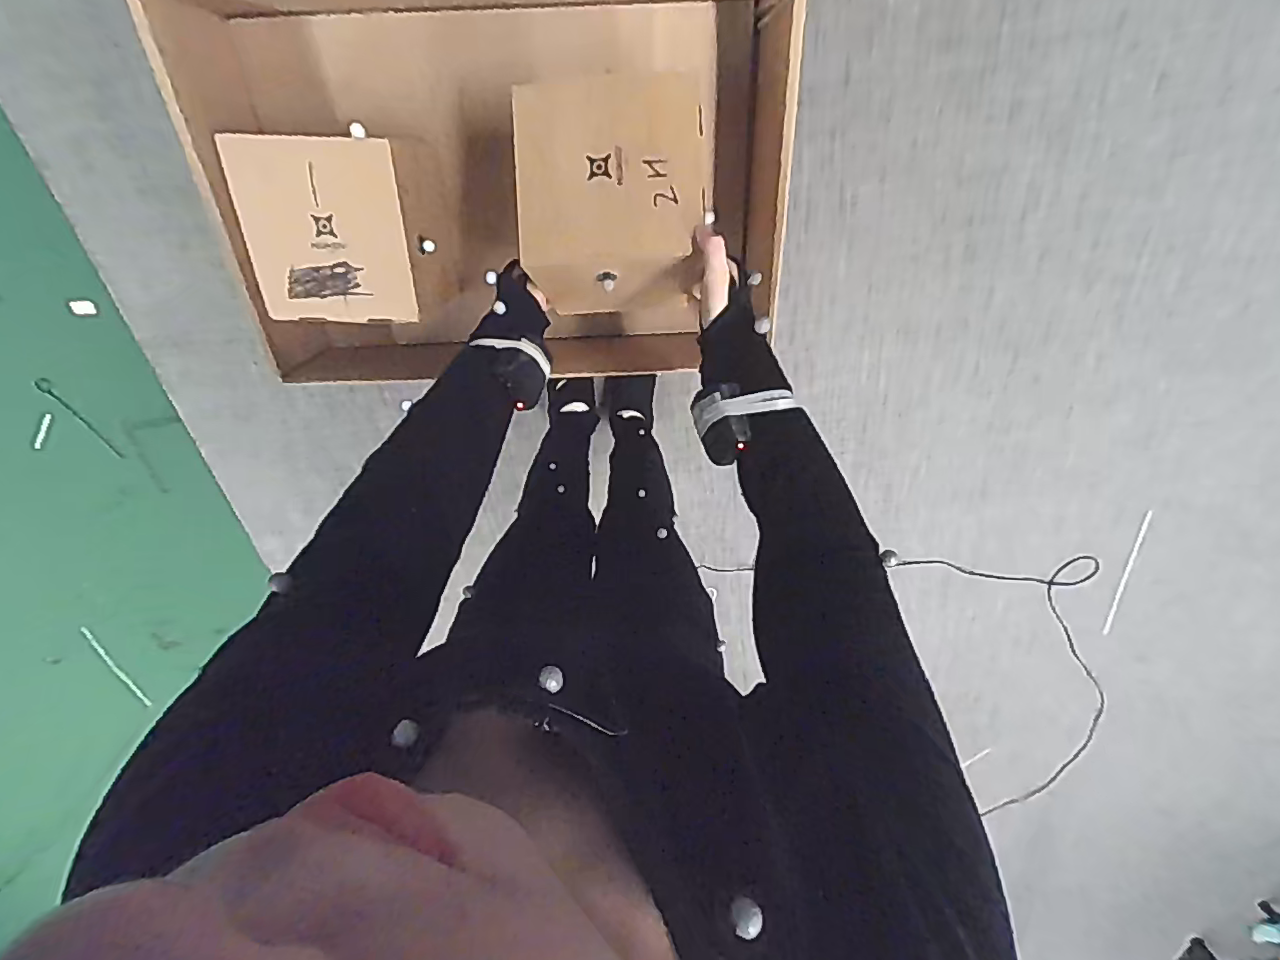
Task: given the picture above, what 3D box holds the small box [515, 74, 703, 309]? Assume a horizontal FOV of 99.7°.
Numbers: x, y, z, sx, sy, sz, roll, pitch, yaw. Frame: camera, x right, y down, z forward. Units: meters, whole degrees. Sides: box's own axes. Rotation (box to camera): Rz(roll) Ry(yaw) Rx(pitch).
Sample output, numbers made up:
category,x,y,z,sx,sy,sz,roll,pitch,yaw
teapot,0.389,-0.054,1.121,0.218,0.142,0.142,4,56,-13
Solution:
category,x,y,z,sx,sy,sz,roll,pitch,yaw
small box,-0.023,-0.289,0.580,0.179,0.176,0.168,-2,92,4
